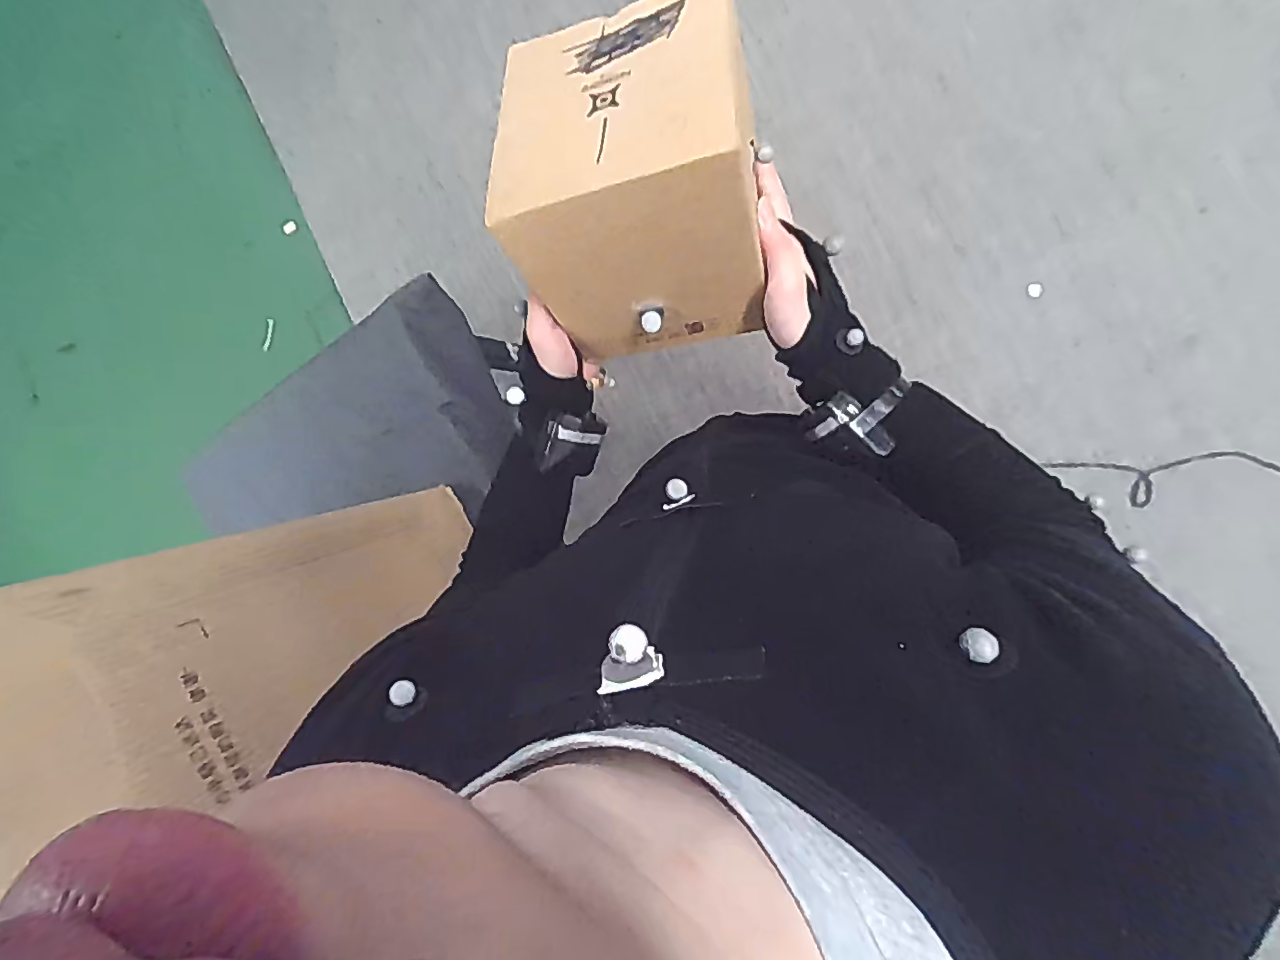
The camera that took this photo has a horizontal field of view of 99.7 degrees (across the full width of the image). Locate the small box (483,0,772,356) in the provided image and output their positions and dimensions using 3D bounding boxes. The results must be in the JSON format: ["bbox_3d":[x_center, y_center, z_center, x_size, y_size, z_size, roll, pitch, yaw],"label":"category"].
[{"bbox_3d":[0.006,-0.223,0.416,0.168,0.176,0.179,-6,69,19],"label":"small box"}]
